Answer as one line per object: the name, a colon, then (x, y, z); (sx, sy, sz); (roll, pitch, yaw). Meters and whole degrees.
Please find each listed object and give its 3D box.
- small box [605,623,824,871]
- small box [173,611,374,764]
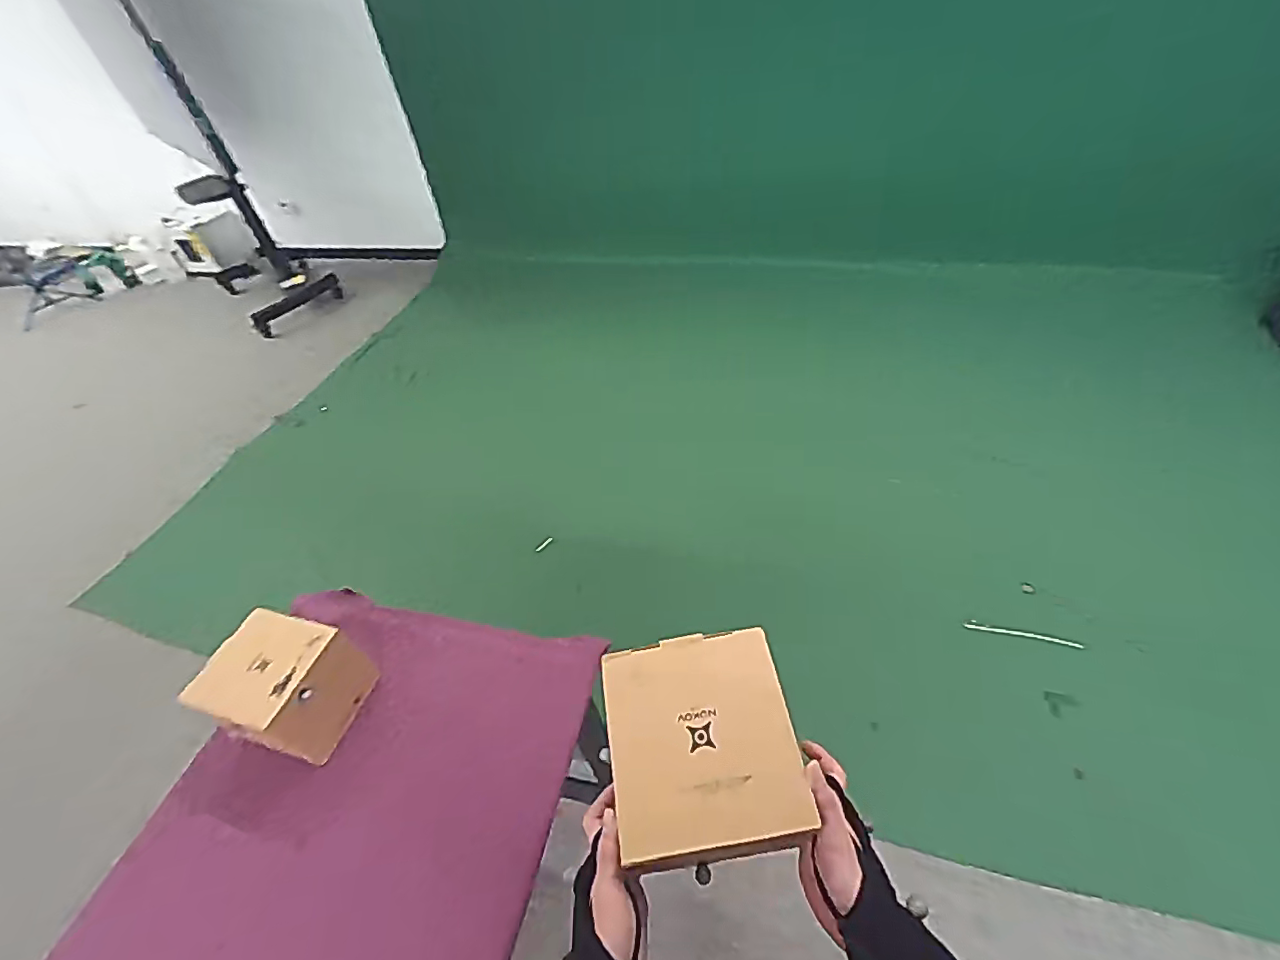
small box: (0.061, 0.267, 0.537); (0.168, 0.176, 0.179); (-9, 51, 0)
small box: (-0.589, 0.344, 0.894); (0.179, 0.176, 0.168); (8, 49, 16)
